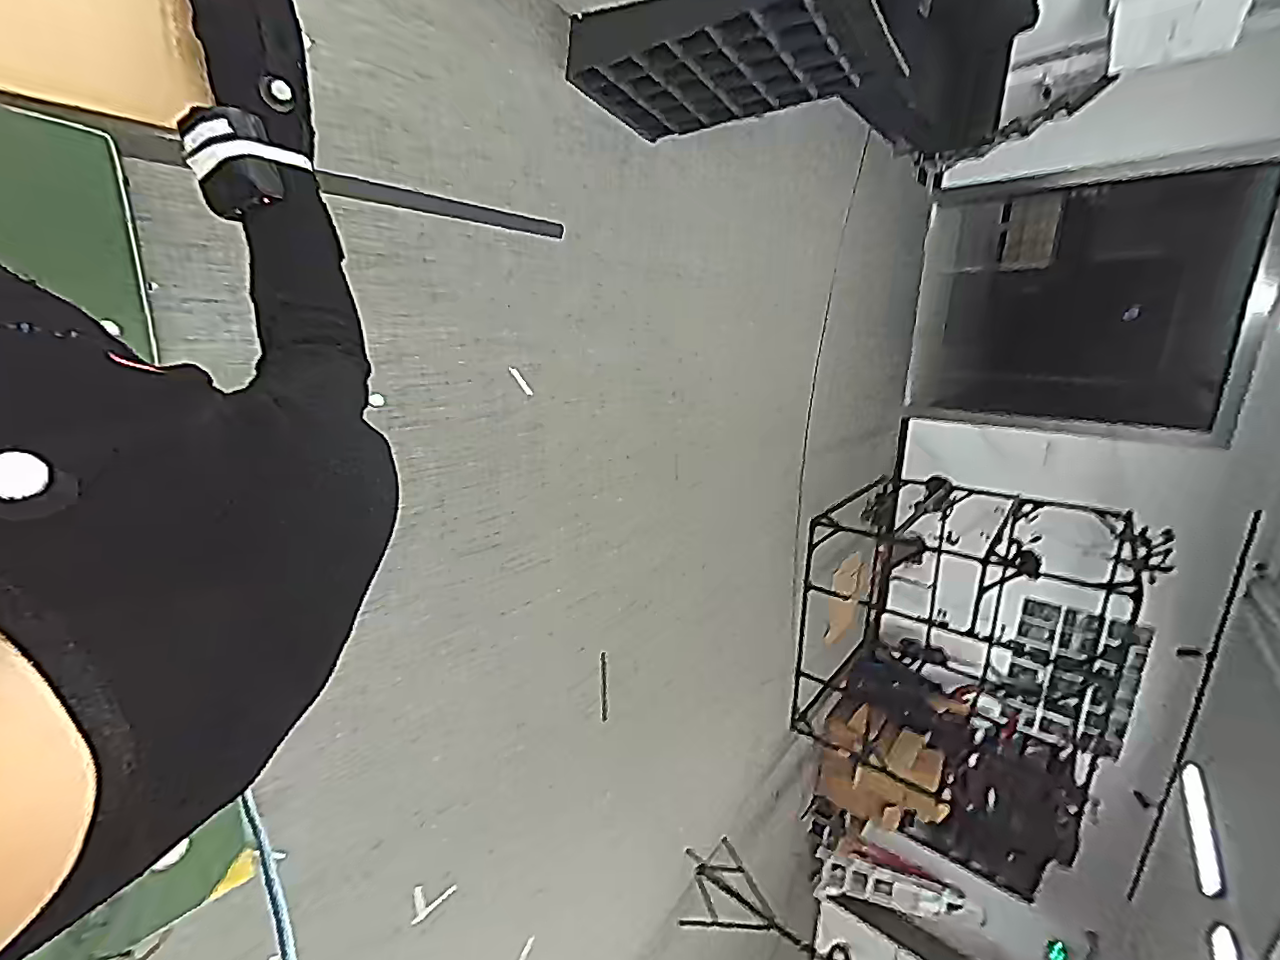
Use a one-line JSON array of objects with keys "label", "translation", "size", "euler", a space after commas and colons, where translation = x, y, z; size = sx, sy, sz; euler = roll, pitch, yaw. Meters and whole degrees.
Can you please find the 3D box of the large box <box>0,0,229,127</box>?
[{"label": "large box", "translation": [-0.564, -0.444, 0.329], "size": [0.408, 0.320, 0.320], "euler": [-19, 127, -50]}]
